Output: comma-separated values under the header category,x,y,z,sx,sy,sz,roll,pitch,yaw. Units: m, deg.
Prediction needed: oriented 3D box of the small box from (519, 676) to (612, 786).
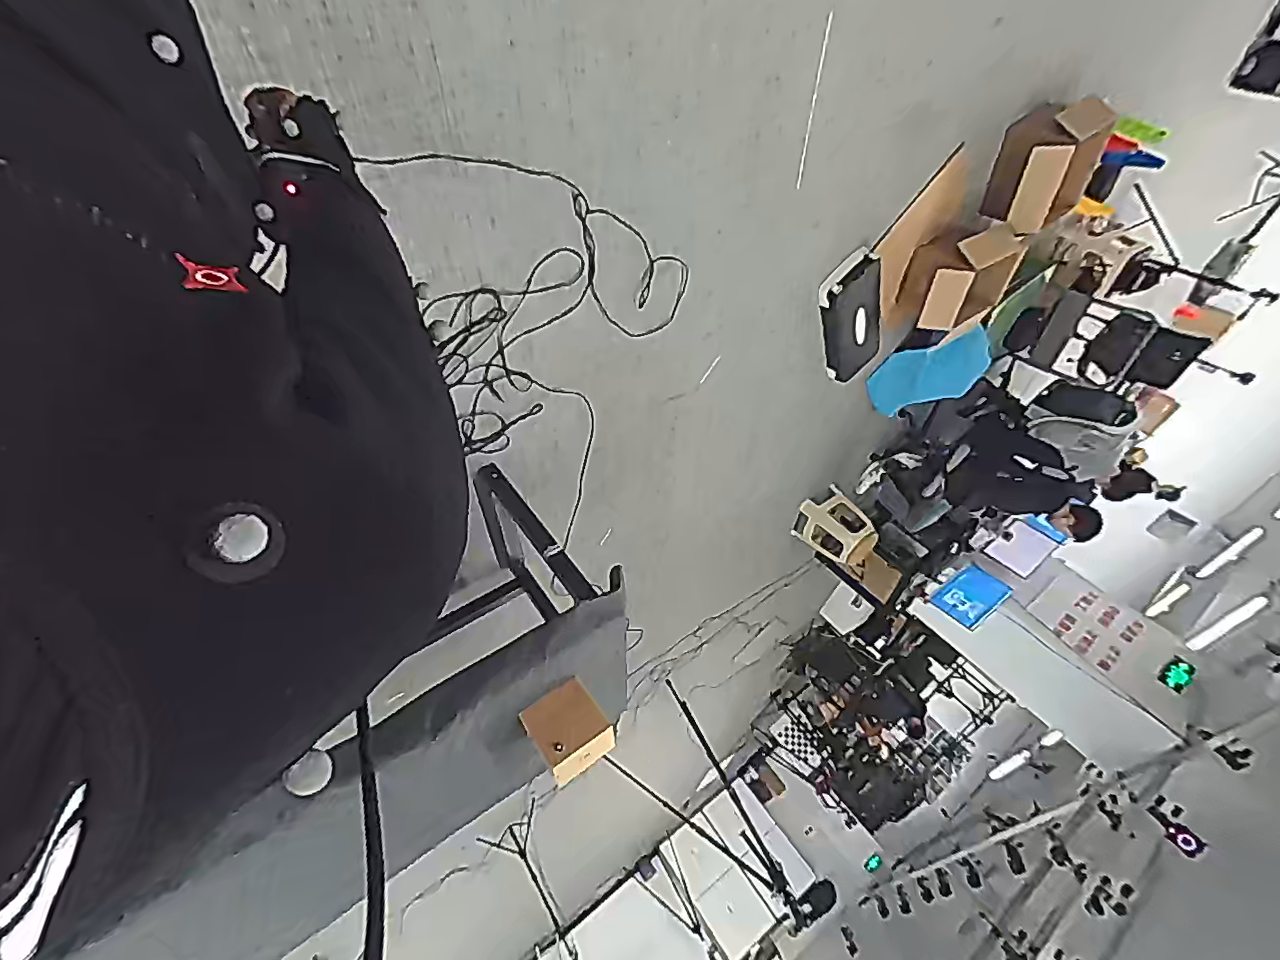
category,x,y,z,sx,sy,sz,roll,pitch,yaw
small box,-0.191,0.647,1.405,0.179,0.176,0.168,-28,143,-23
